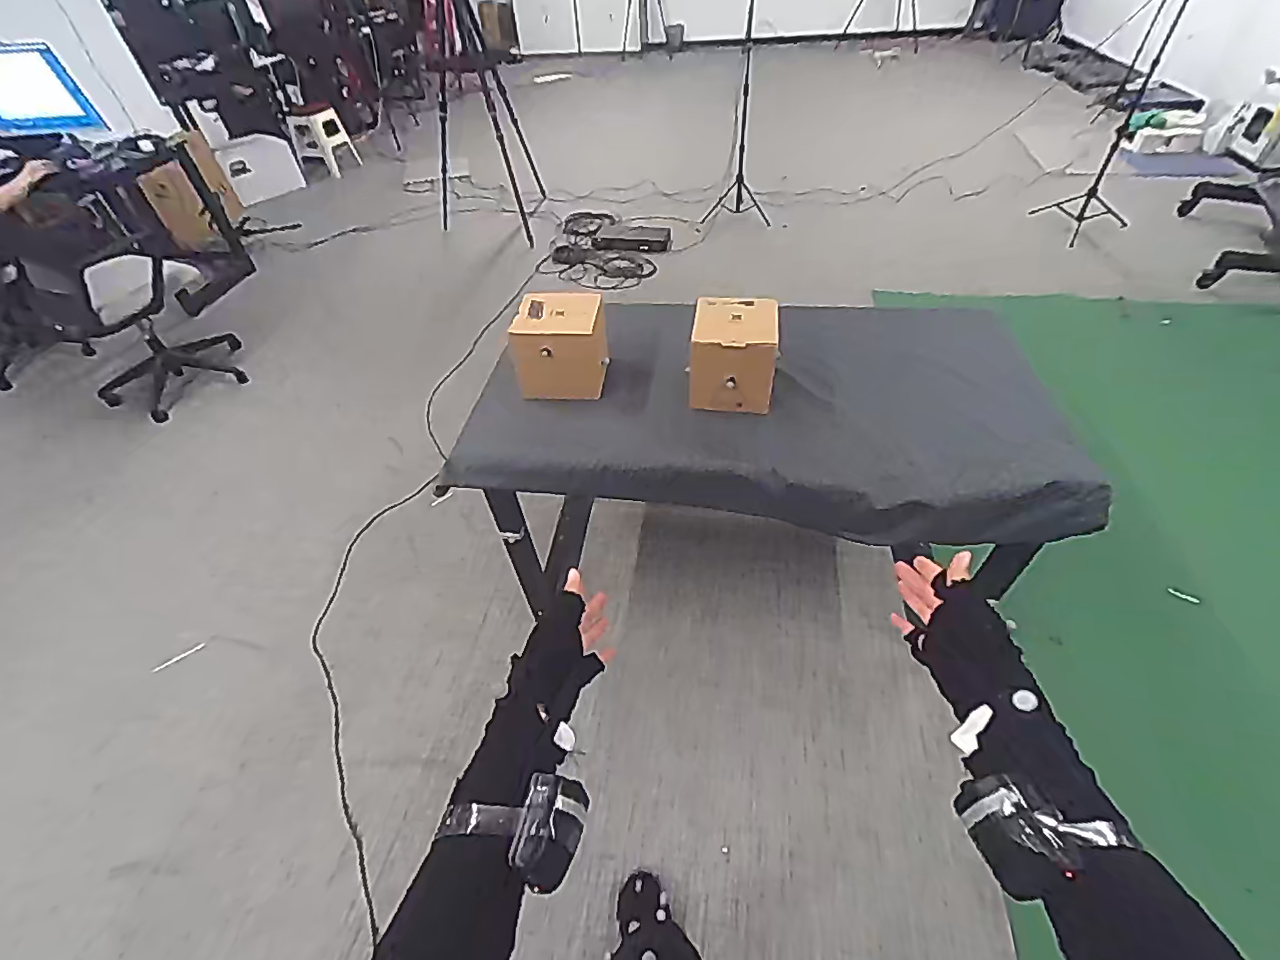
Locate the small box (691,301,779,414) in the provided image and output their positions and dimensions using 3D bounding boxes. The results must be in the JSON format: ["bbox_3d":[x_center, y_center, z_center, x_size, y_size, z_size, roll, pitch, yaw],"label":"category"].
[{"bbox_3d":[0.199,-0.257,1.137,0.168,0.176,0.179,5,48,9],"label":"small box"}]

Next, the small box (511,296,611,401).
[{"bbox_3d":[-0.165,-0.289,1.194,0.179,0.176,0.168,2,47,5],"label":"small box"}]
